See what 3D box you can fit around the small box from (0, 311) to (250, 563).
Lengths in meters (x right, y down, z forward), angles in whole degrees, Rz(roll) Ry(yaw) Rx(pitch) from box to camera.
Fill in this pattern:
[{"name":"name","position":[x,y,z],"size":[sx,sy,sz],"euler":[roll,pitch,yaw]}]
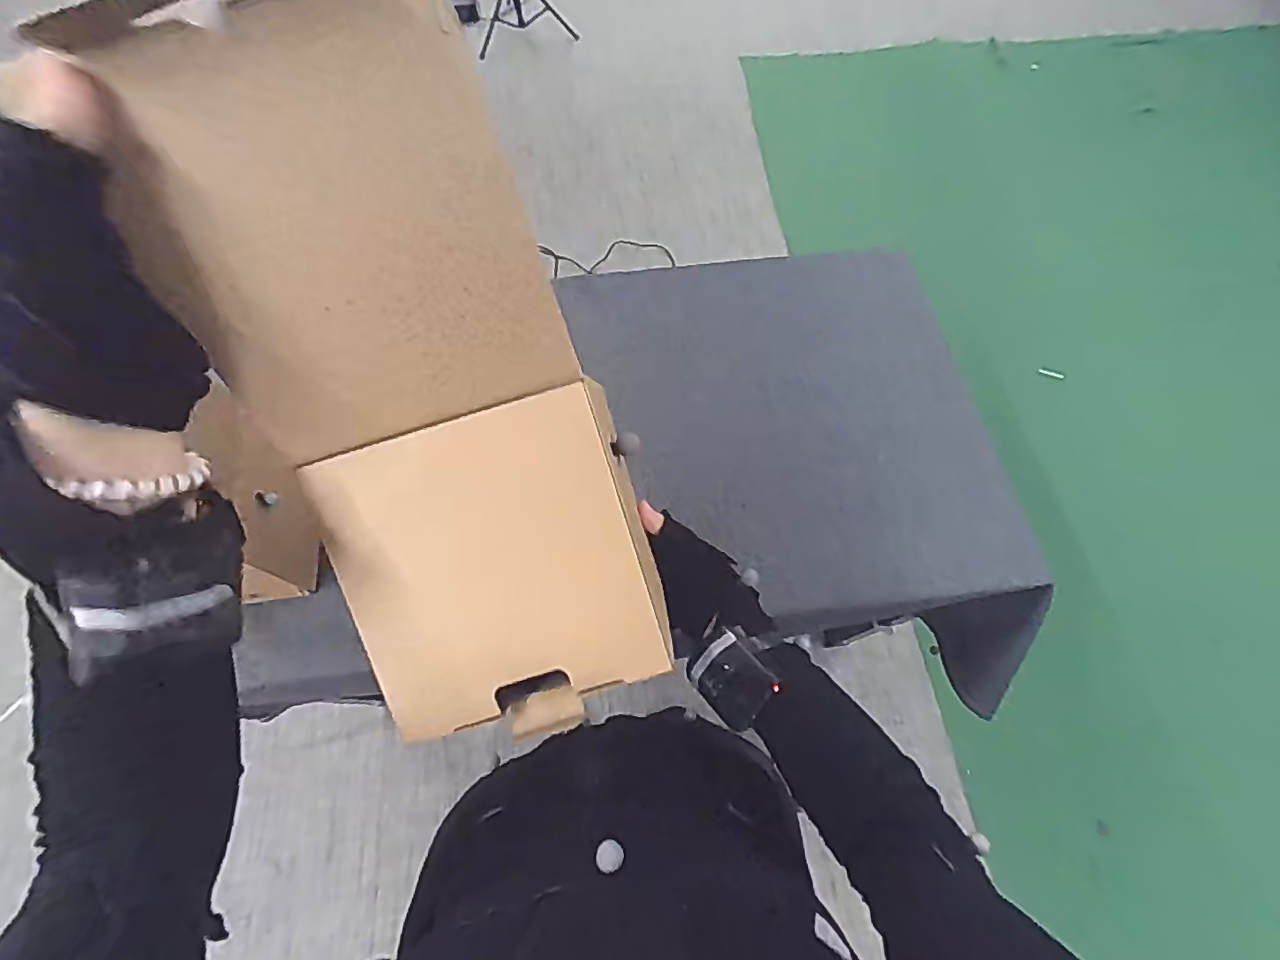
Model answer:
[{"name":"small box","position":[-0.508,-0.028,0.507],"size":[0.168,0.176,0.179],"euler":[-7,65,-5]}]

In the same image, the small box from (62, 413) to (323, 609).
[{"name":"small box","position":[-0.512,0.044,0.653],"size":[0.168,0.176,0.179],"euler":[-8,66,-4]}]
